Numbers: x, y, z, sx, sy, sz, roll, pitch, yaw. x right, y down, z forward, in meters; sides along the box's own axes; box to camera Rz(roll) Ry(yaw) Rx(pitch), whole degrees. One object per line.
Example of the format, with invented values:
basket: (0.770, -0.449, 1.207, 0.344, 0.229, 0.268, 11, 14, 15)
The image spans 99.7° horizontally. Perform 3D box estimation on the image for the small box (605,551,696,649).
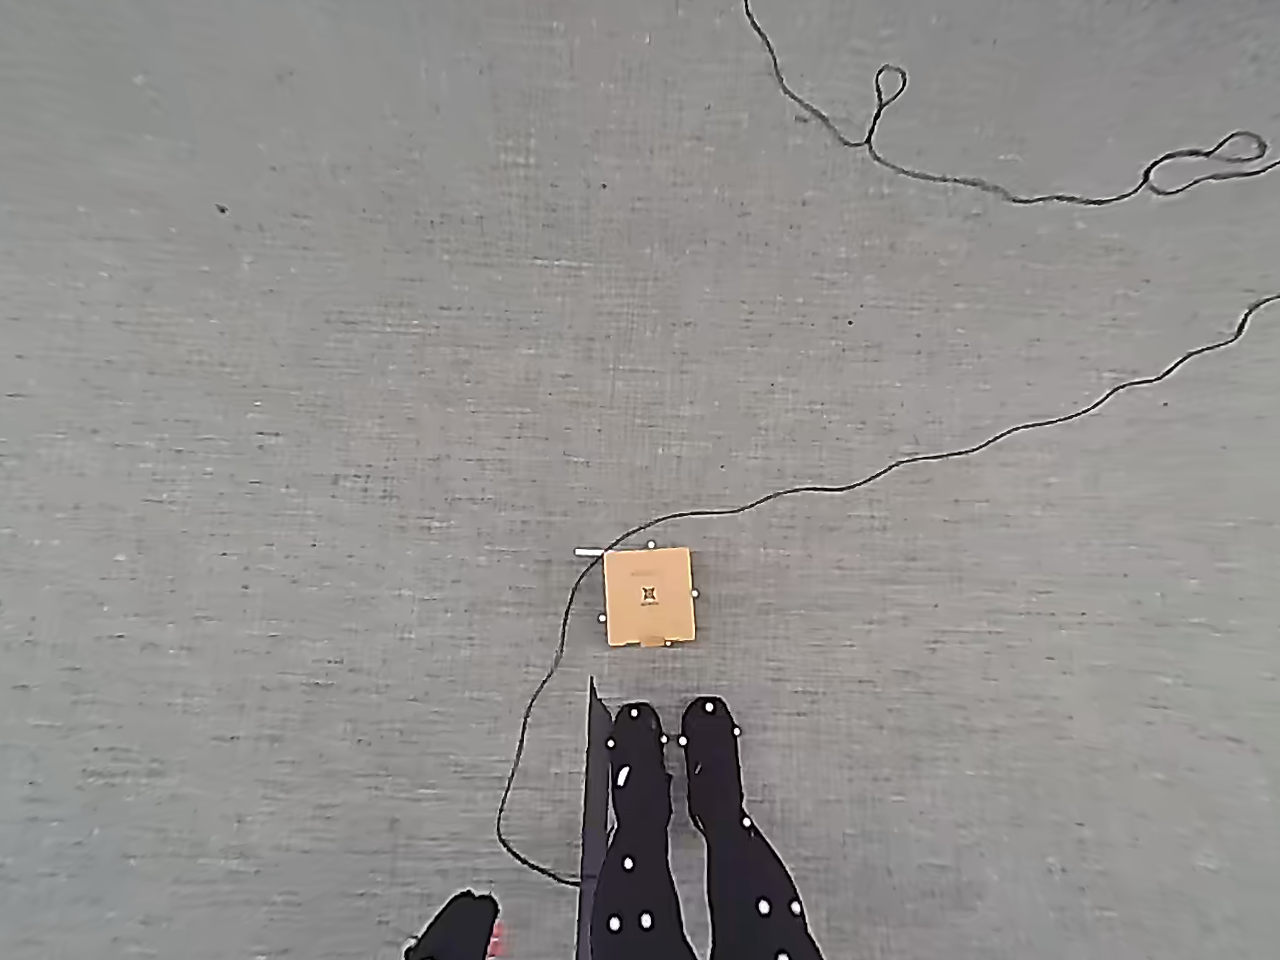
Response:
small box: (0.018, 0.234, 1.091, 0.168, 0.176, 0.179, -3, 82, -3)
